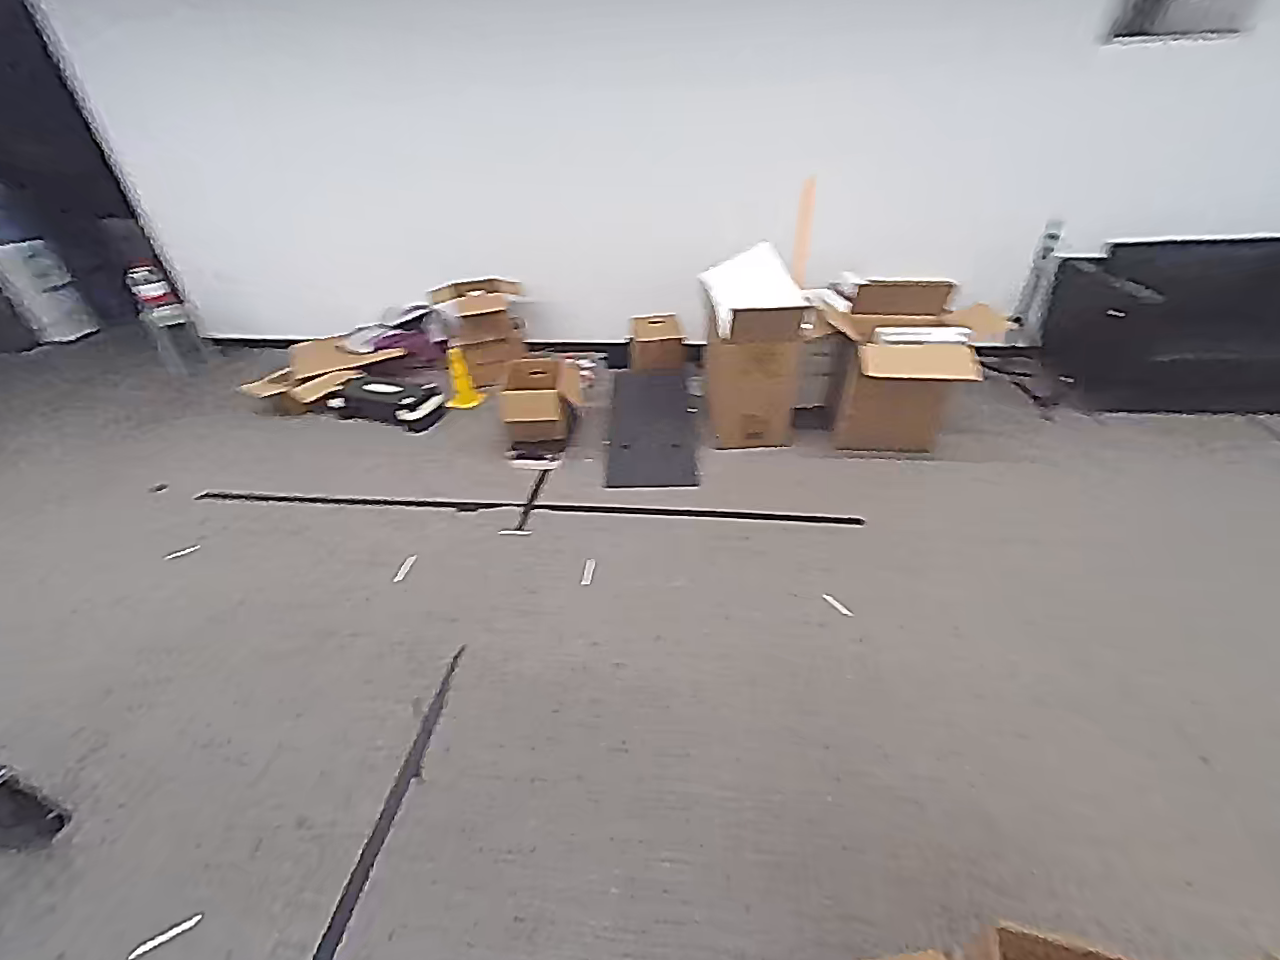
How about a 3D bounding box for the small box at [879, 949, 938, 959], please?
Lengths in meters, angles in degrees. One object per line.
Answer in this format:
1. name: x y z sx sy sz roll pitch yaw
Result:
1. small box: 0.249 0.602 0.511 0.179 0.176 0.168 -19 53 -31
